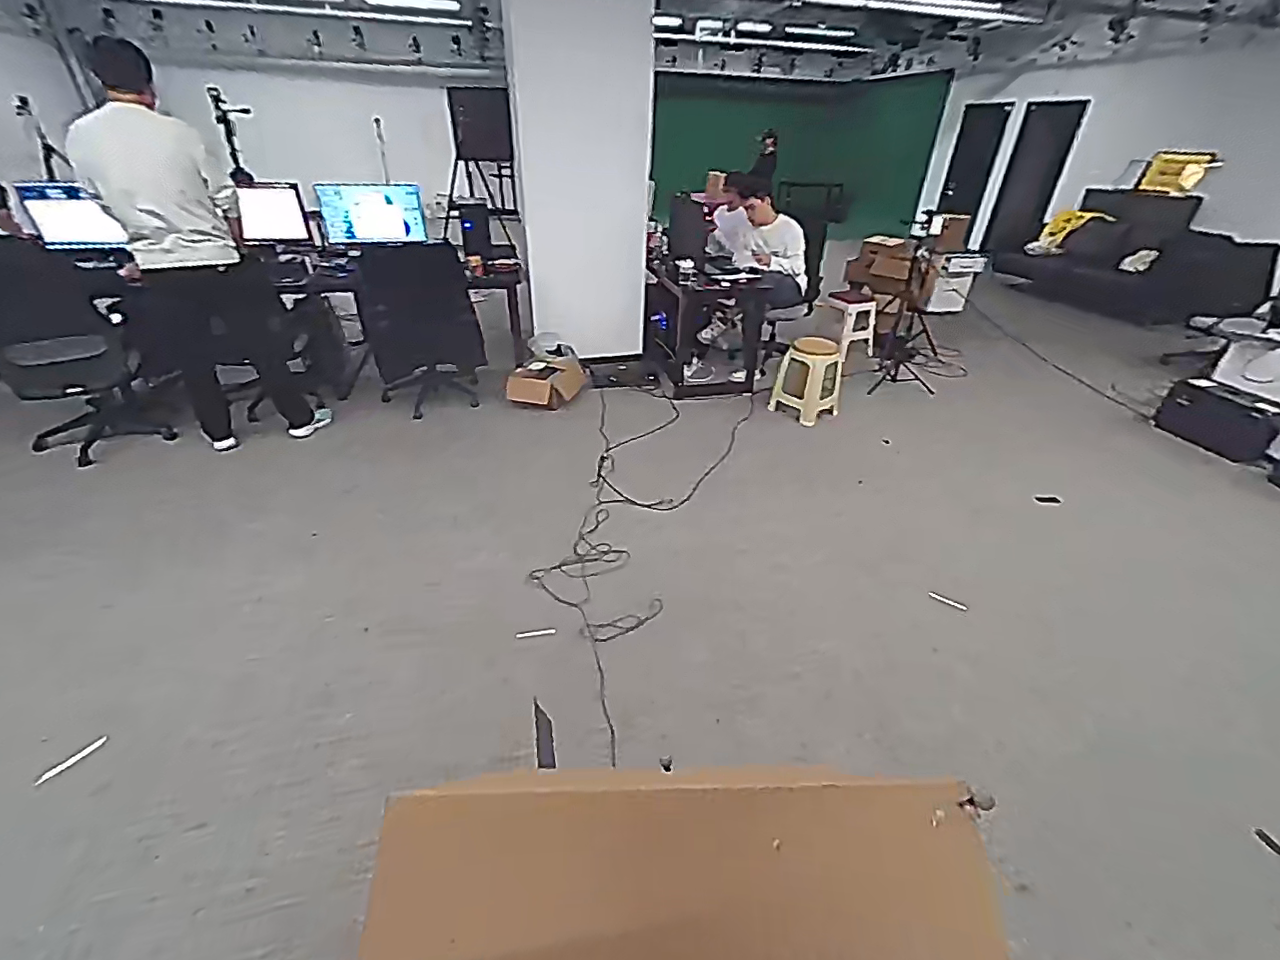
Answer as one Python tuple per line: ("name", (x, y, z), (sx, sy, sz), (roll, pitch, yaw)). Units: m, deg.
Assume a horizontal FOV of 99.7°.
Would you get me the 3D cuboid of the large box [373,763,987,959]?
("large box", (0.024, 0.426, 0.459), (0.408, 0.320, 0.320), (-1, 65, -2))
